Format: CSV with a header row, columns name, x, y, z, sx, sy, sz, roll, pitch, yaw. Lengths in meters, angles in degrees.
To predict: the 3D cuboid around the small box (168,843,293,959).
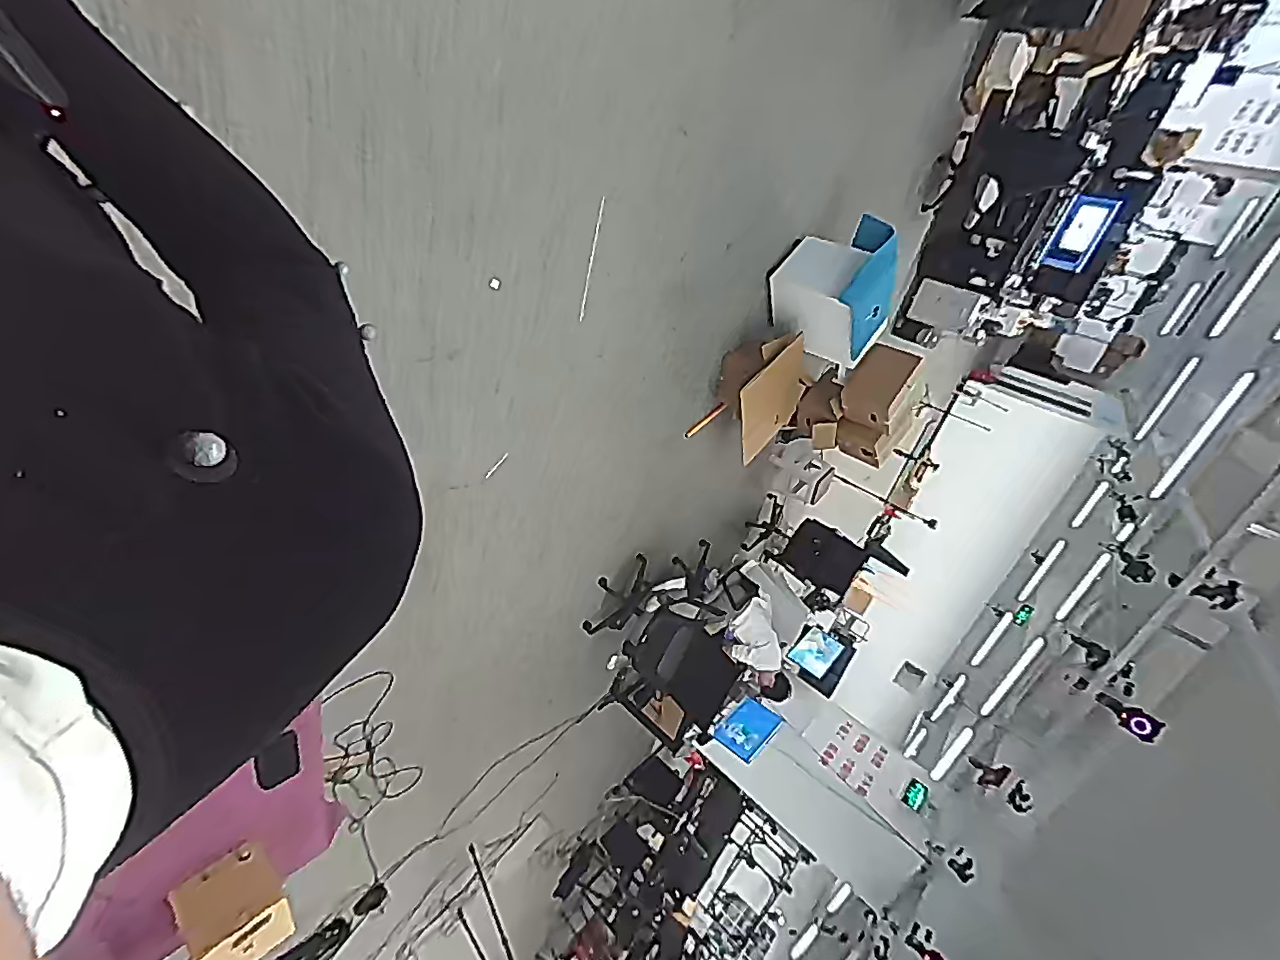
name,x,y,z,sx,sy,sz,roll,pitch,yaw
small box,-0.890,0.944,1.181,0.168,0.176,0.179,-22,136,-45
